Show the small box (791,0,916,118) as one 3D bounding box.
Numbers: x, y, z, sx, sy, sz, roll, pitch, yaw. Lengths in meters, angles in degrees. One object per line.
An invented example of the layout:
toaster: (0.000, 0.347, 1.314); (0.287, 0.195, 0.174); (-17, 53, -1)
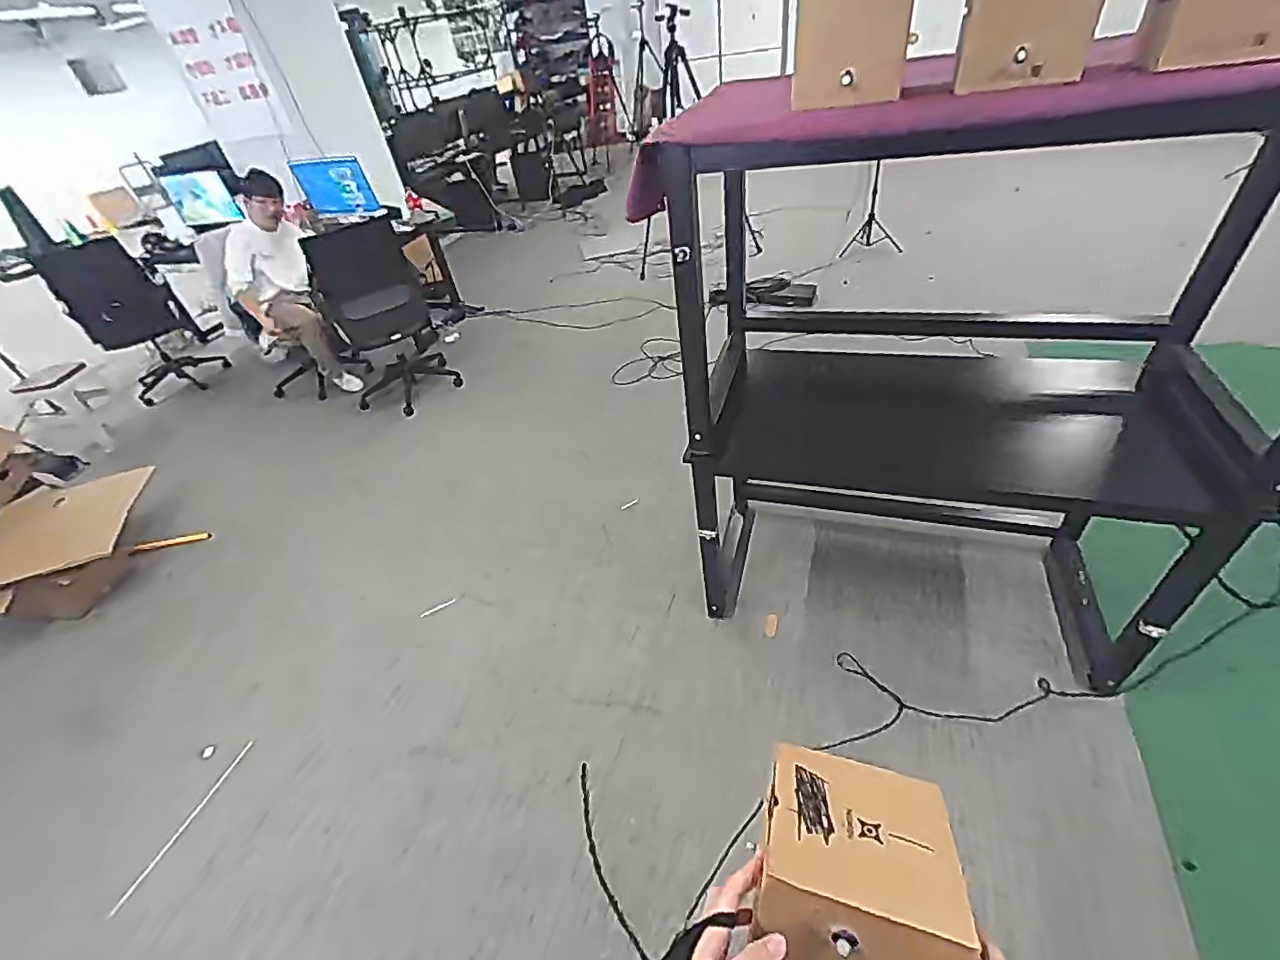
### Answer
small box: (0.360, -0.735, 0.919); (0.179, 0.176, 0.168); (8, 43, 19)

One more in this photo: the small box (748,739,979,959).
small box: (0.214, 0.413, 0.557); (0.179, 0.176, 0.168); (10, 20, 16)

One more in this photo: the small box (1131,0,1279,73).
small box: (0.832, -0.681, 0.749); (0.168, 0.176, 0.179); (10, 43, 22)
